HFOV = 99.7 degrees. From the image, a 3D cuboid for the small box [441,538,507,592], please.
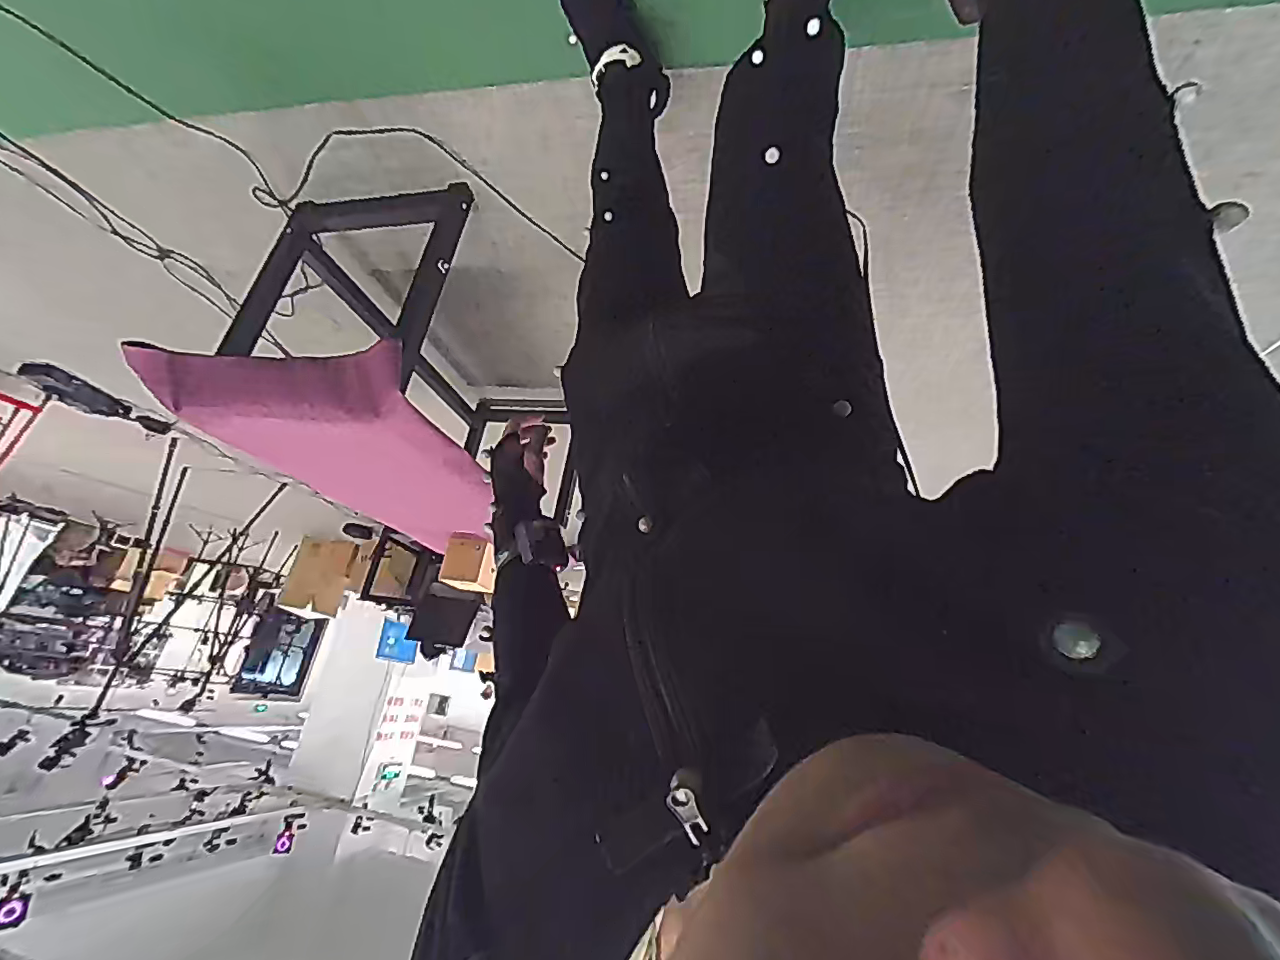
[{"bbox_3d":[-0.645,0.333,2.118,0.168,0.176,0.179,4,159,13],"label":"small box"}]
